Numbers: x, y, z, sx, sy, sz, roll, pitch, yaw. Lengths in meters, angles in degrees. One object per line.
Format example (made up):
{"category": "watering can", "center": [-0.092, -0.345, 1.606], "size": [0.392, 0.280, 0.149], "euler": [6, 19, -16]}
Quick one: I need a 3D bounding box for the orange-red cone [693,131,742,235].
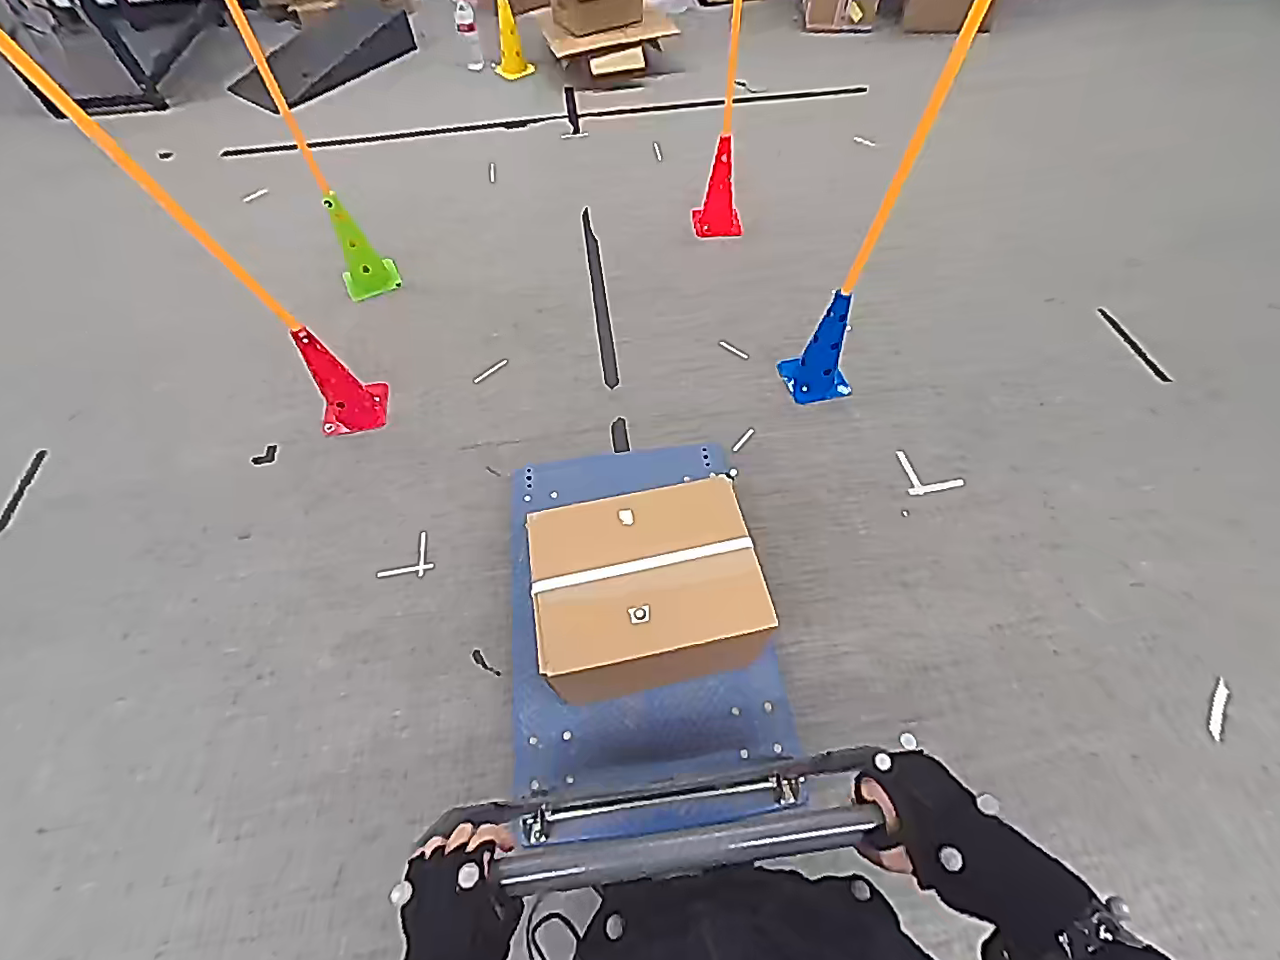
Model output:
{"category": "orange-red cone", "center": [0.328, -1.194, 2.156], "size": [0.199, 0.360, 0.198], "euler": [-2, 59, -1]}

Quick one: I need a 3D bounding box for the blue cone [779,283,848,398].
{"category": "blue cone", "center": [0.588, -0.446, 1.706], "size": [0.193, 0.380, 0.192], "euler": [-11, 58, -6]}
